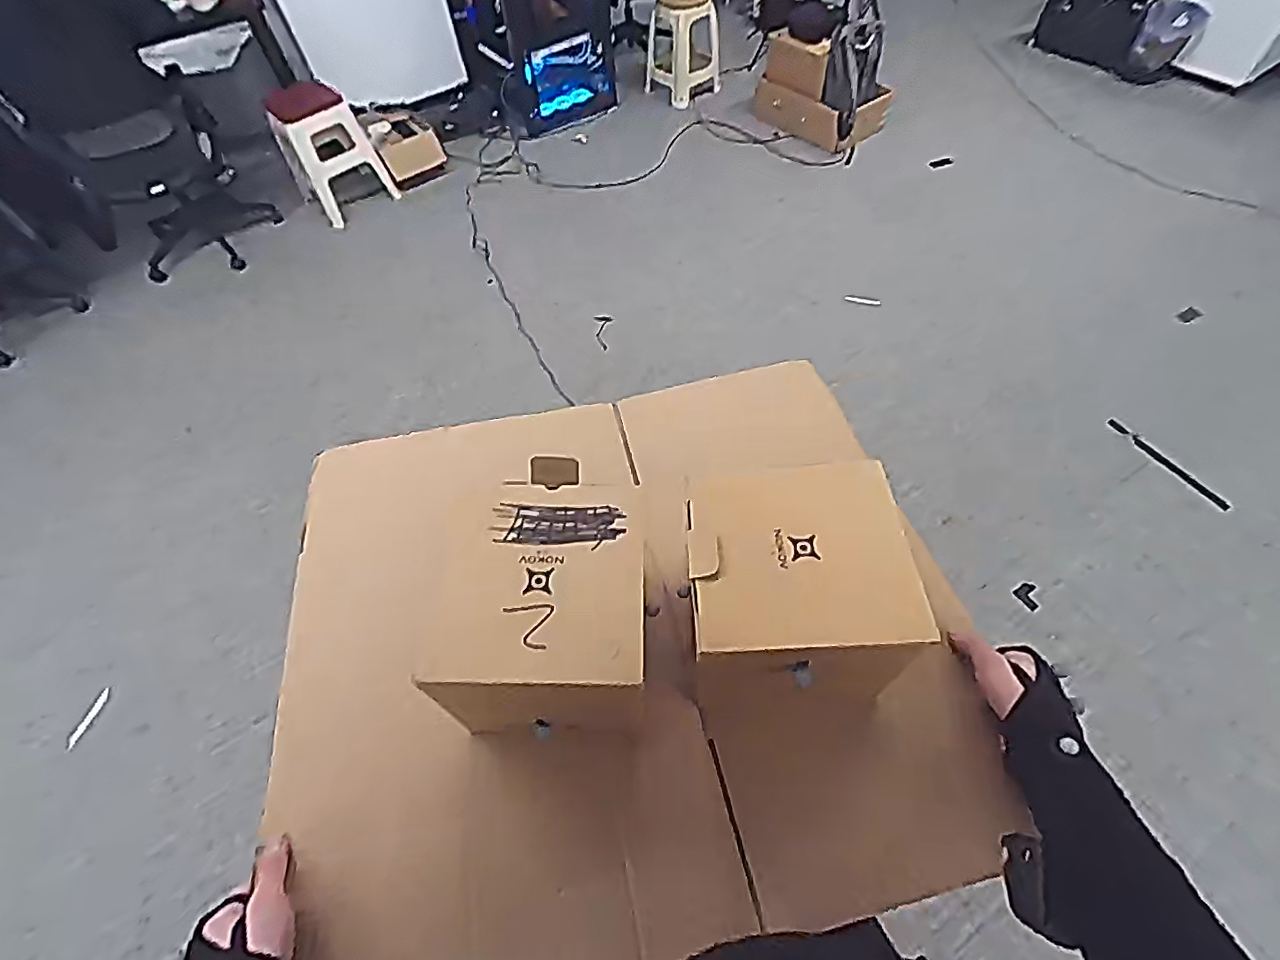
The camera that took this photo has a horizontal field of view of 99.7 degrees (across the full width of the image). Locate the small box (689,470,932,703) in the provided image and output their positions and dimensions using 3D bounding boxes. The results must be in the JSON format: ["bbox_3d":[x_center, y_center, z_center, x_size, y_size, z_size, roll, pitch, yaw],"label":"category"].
[{"bbox_3d":[0.138,0.108,0.516,0.179,0.176,0.168,-4,55,4],"label":"small box"}]
